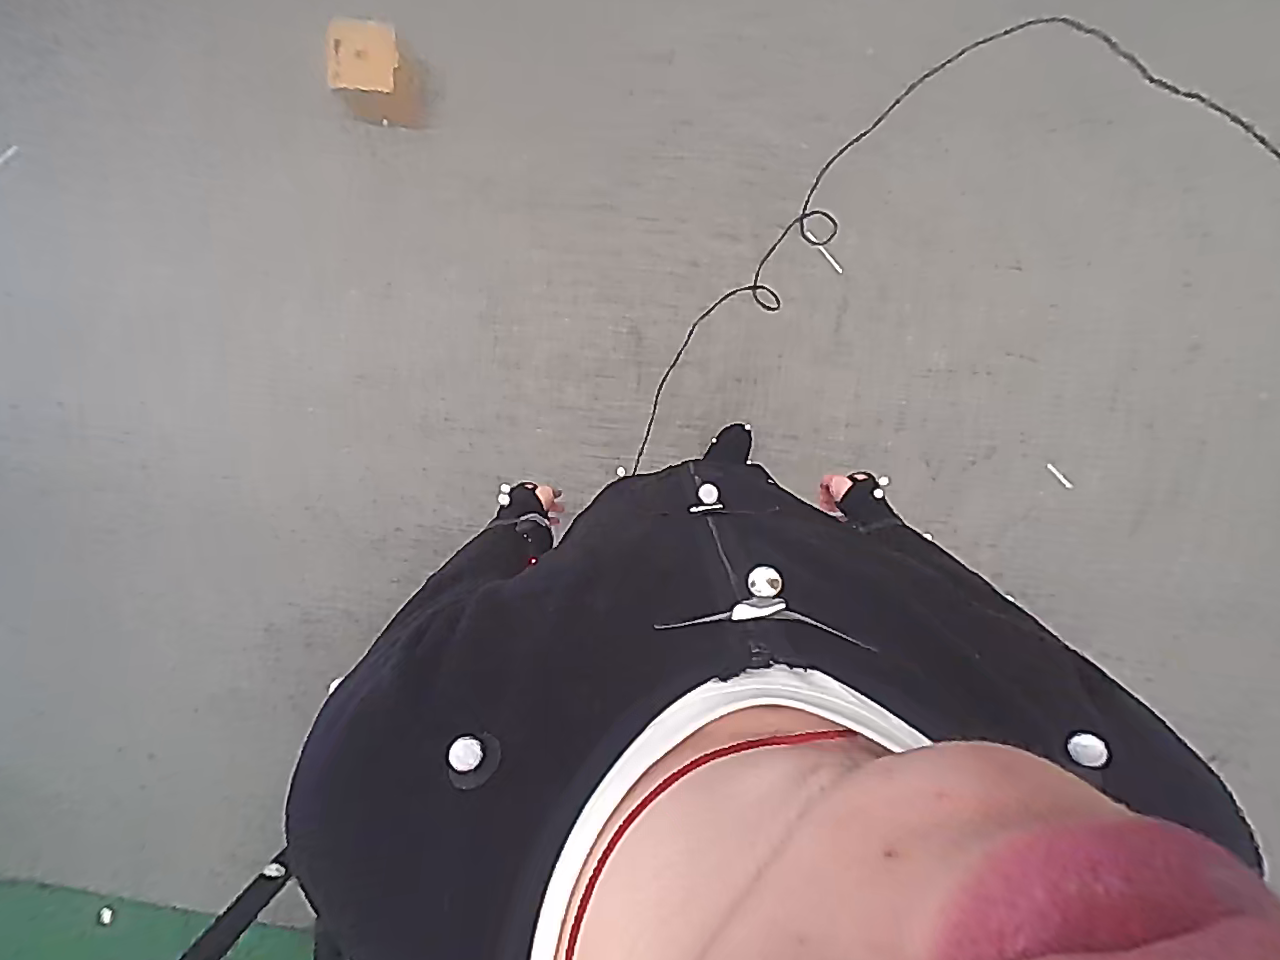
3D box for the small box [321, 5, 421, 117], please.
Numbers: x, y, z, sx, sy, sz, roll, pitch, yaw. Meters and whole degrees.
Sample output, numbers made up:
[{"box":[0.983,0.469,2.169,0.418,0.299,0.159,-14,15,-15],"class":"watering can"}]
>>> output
[{"box":[-0.700,-1.091,1.422,0.179,0.176,0.168,8,95,2],"class":"small box"}]
